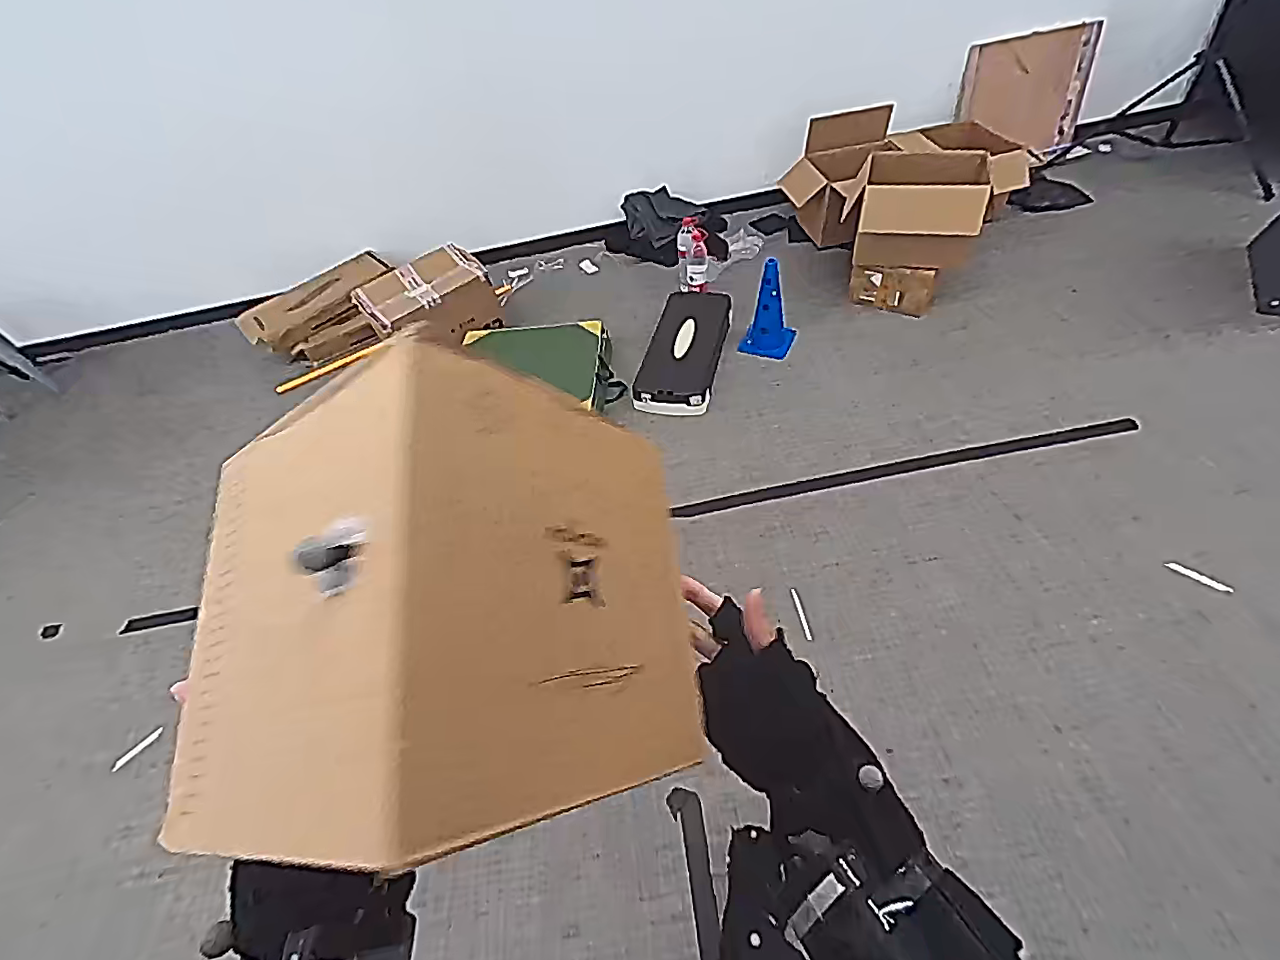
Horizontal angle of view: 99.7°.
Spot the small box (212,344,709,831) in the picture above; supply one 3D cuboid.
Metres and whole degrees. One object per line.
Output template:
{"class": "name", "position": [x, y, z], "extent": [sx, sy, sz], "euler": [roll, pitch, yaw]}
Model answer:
{"class": "small box", "position": [-0.086, 0.068, 0.287], "extent": [0.176, 0.168, 0.179], "euler": [-21, 64, 29]}
